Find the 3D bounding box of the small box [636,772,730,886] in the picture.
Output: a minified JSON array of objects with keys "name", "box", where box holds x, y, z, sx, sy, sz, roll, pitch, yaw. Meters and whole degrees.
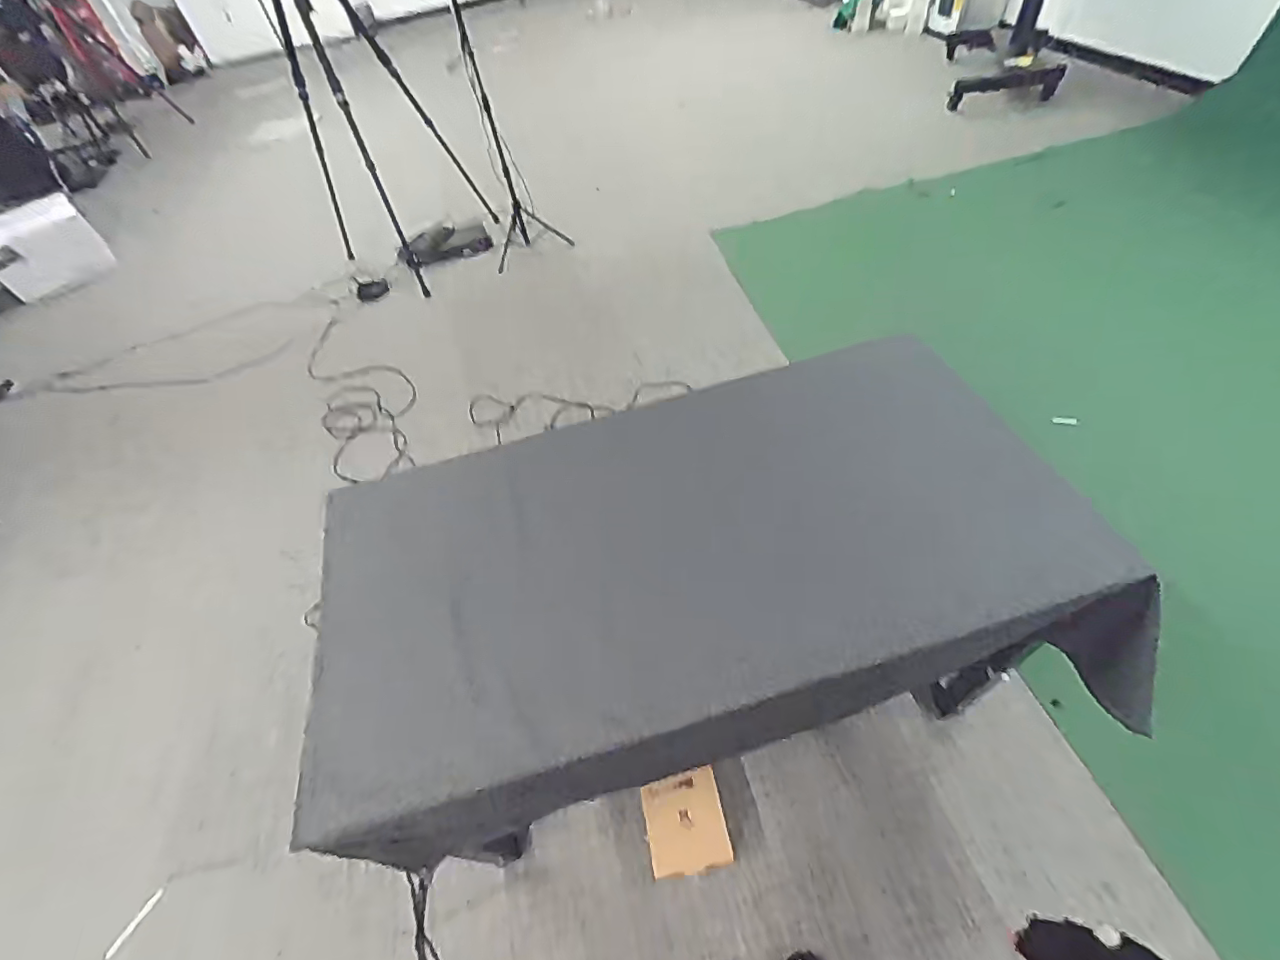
[{"name":"small box","box":[0.096,0.758,1.171,0.168,0.176,0.179,-13,51,-1]}]
